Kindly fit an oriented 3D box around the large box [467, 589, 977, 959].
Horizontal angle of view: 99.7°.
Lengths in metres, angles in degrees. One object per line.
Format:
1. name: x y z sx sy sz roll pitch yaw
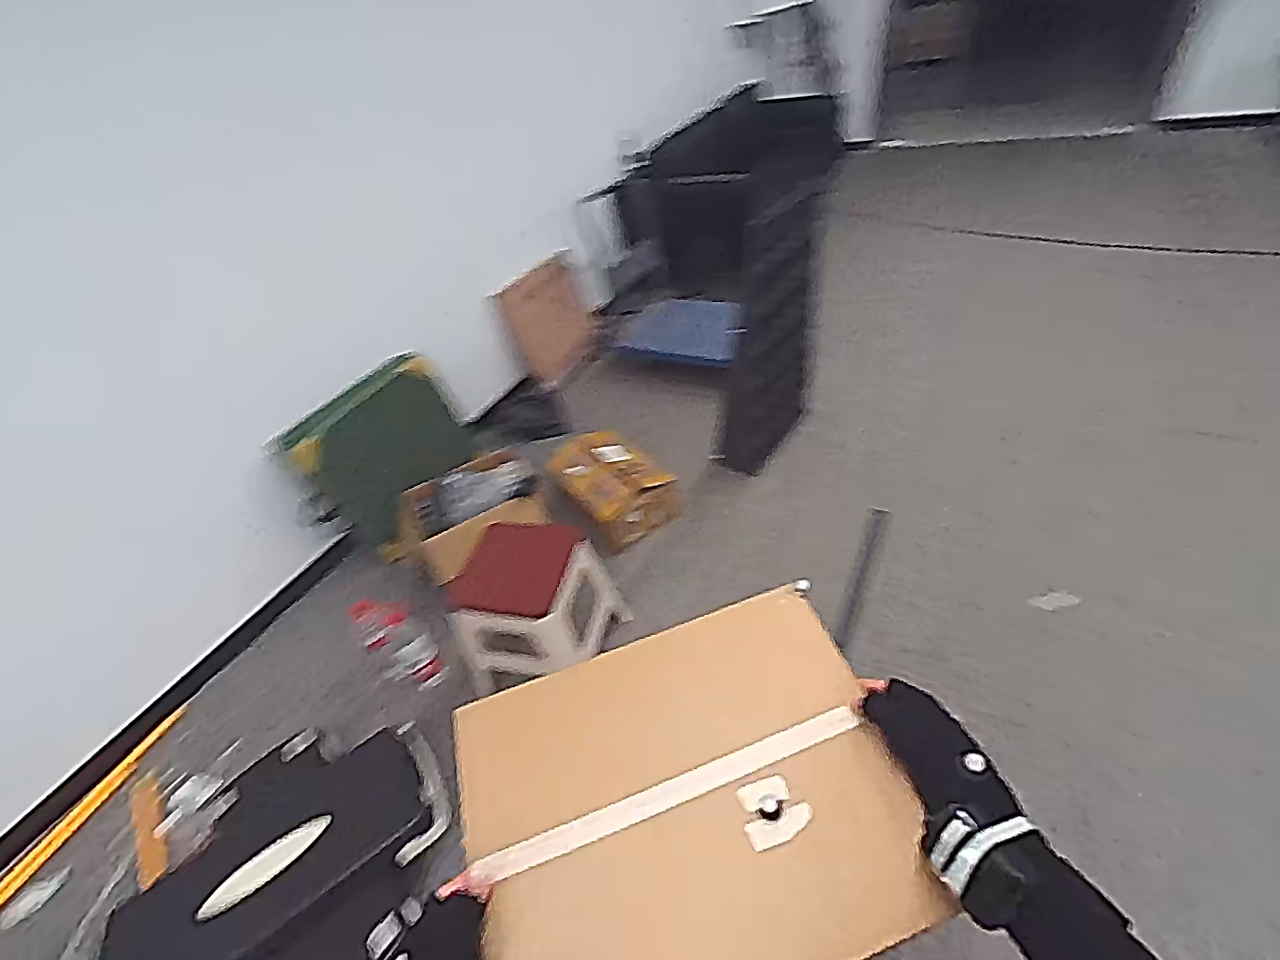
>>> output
1. large box: 0.060 0.392 0.617 0.408 0.320 0.320 -18 47 -7
